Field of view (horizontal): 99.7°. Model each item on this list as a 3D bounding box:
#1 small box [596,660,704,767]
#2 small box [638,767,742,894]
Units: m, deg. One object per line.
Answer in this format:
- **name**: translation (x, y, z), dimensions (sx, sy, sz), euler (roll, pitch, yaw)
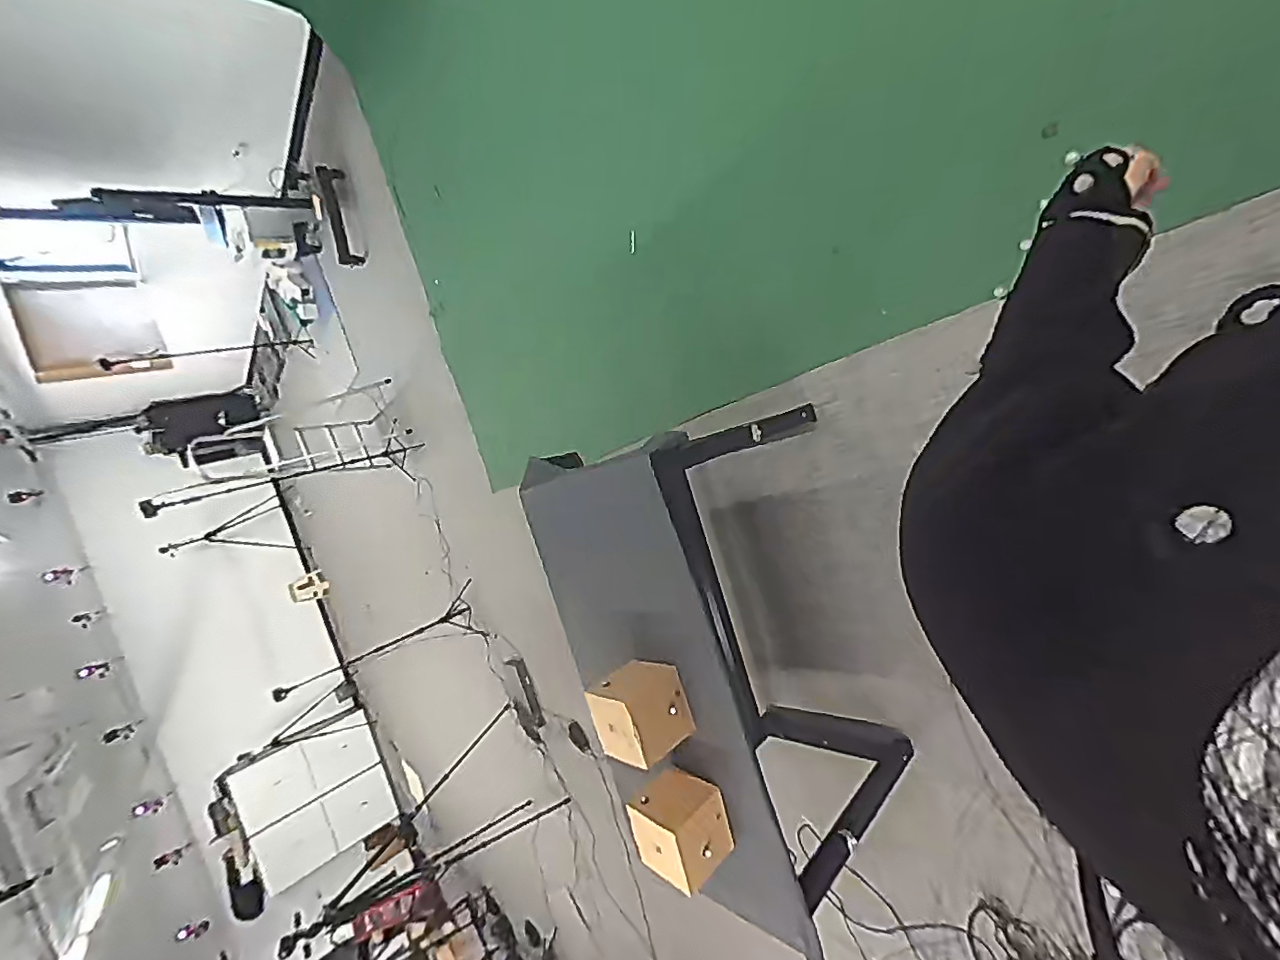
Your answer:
- **small box**: translation (0.025, 0.557, 1.316), dimensions (0.179, 0.176, 0.168), euler (-16, 94, 51)
- **small box**: translation (0.129, 0.841, 1.322), dimensions (0.179, 0.176, 0.168), euler (-8, 100, 51)
